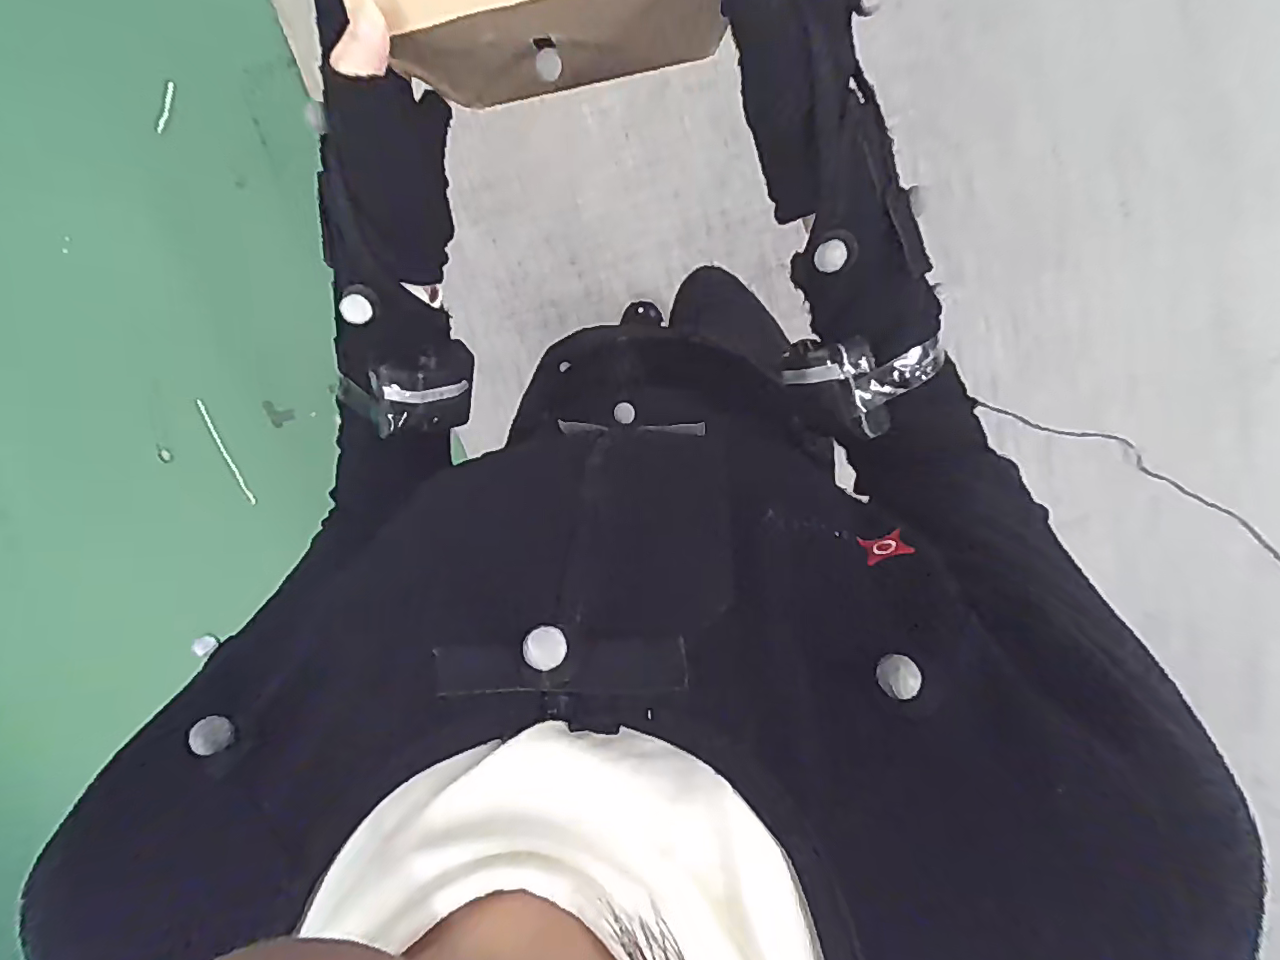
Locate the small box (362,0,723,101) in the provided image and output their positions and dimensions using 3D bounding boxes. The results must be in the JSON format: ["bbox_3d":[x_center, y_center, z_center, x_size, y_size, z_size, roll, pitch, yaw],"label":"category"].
[{"bbox_3d":[-0.048,-0.318,0.267,0.179,0.176,0.168,-12,114,6],"label":"small box"}]
